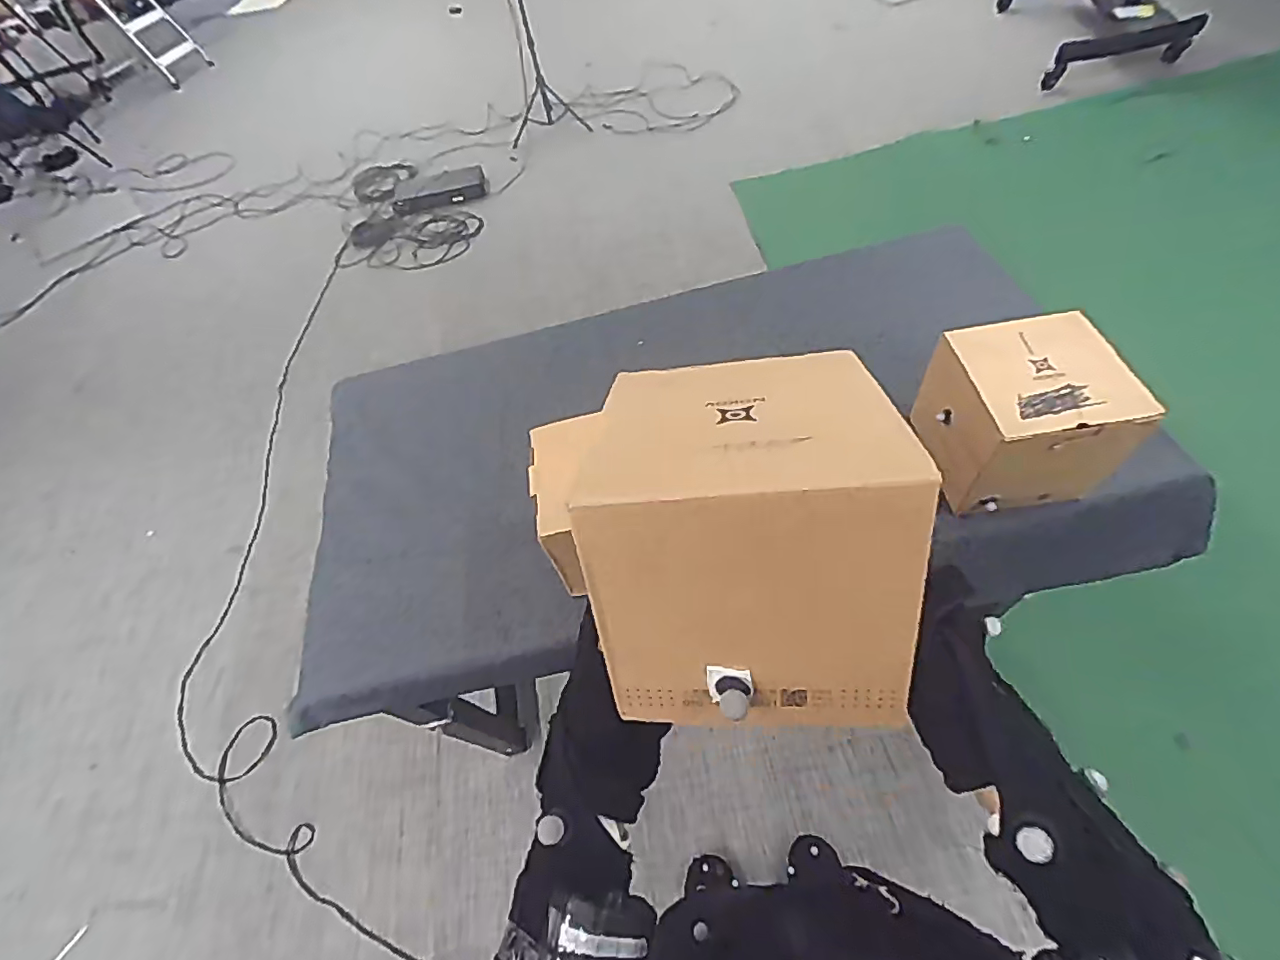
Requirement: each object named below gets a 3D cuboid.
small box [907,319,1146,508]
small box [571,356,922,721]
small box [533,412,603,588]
[{"bbox_3d":[0.473,-0.075,0.700,0.168,0.176,0.179,-7,55,5],"label":"small box"},{"bbox_3d":[0.065,0.032,0.362,0.168,0.176,0.179,-5,31,9],"label":"small box"},{"bbox_3d":[-0.031,0.026,0.715,0.179,0.176,0.168,-12,54,1],"label":"small box"}]
